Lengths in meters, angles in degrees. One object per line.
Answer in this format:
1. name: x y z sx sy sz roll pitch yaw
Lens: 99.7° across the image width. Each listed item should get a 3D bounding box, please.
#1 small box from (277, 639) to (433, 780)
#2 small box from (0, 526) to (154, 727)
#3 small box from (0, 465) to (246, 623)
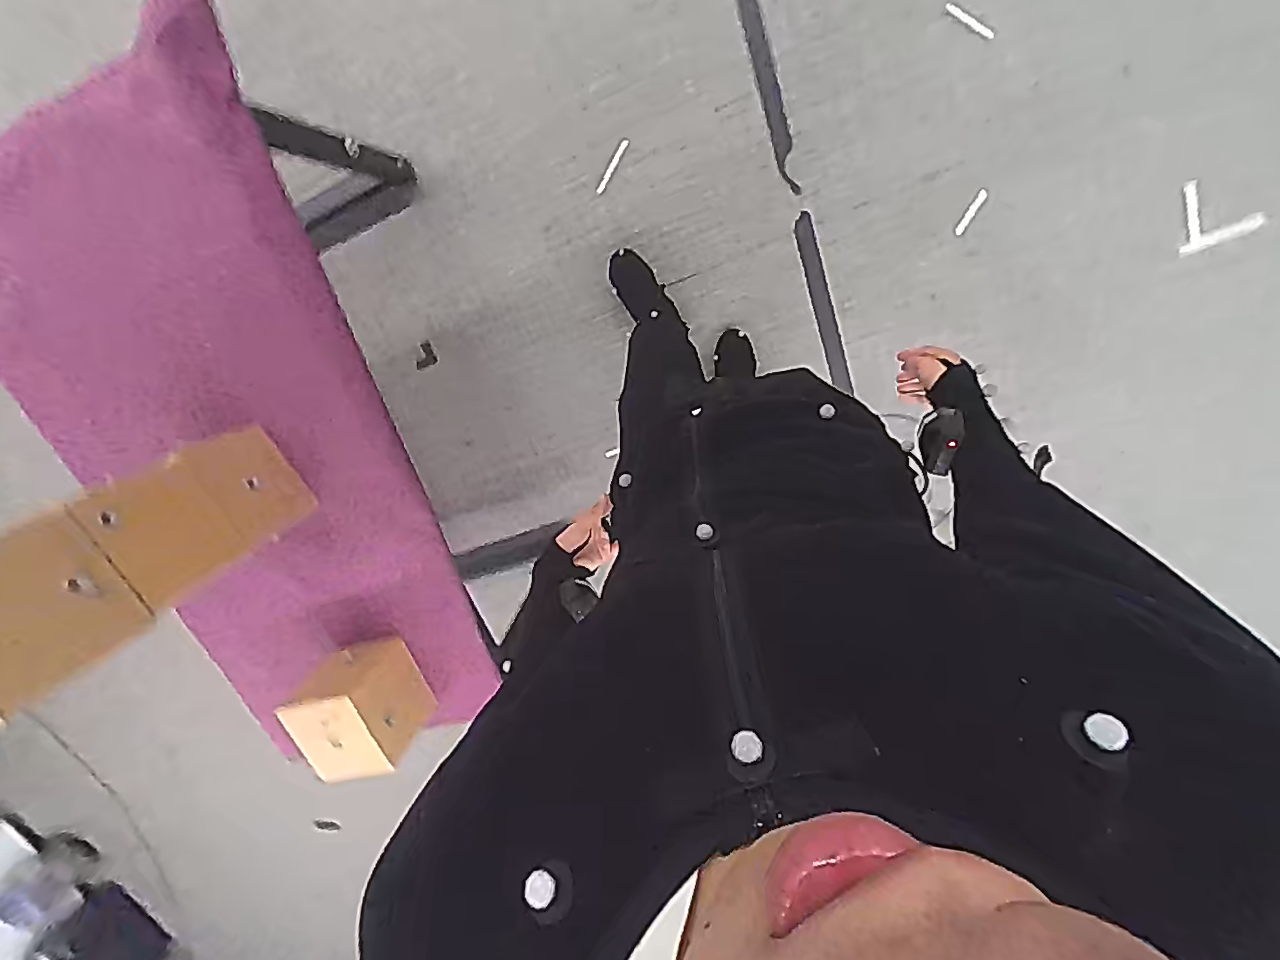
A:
1. small box: -0.534 0.439 1.044 0.168 0.176 0.179 -15 108 13
2. small box: -0.731 0.169 0.614 0.168 0.176 0.179 -20 107 15
3. small box: -0.719 0.103 0.764 0.168 0.176 0.179 -21 107 14
